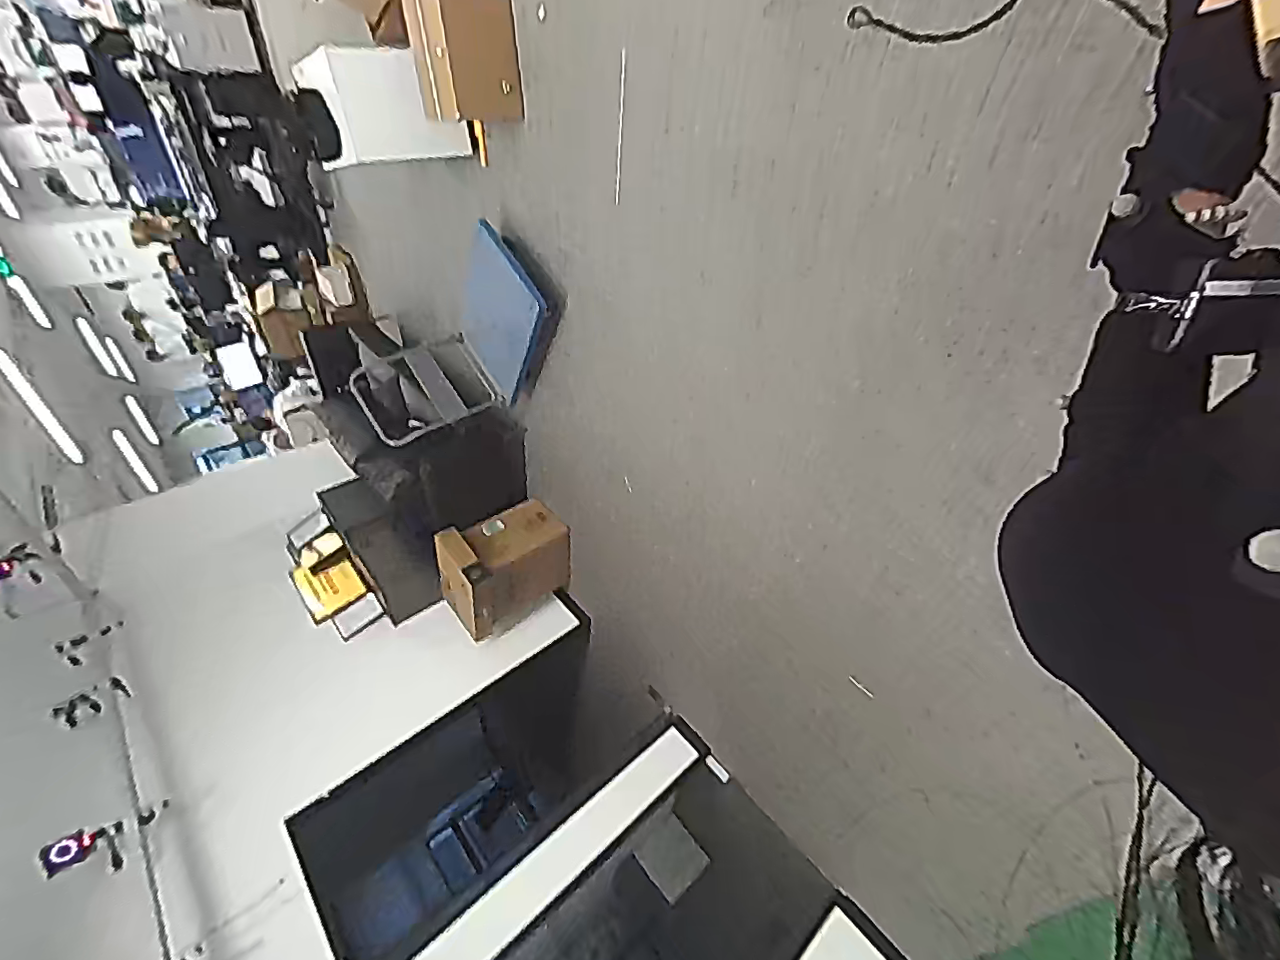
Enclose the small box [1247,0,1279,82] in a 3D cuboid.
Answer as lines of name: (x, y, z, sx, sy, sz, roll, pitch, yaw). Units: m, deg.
small box: (0.389, -0.319, 0.232, 0.179, 0.176, 0.168, -7, 100, 50)
